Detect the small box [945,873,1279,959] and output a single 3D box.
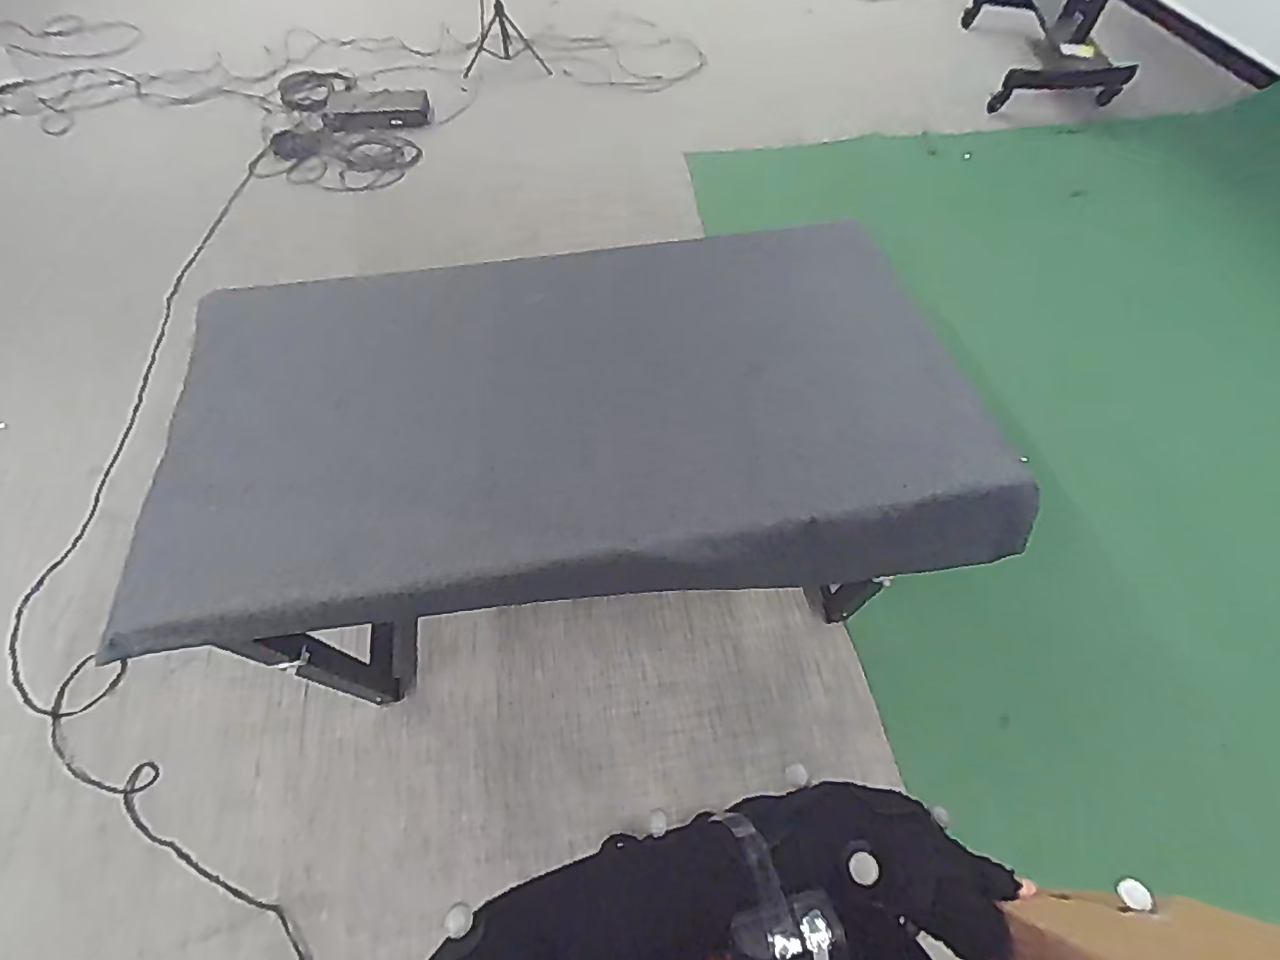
[{"bbox_3d":[0.293,0.338,0.284,0.168,0.176,0.179,4,65,2],"label":"small box"}]
